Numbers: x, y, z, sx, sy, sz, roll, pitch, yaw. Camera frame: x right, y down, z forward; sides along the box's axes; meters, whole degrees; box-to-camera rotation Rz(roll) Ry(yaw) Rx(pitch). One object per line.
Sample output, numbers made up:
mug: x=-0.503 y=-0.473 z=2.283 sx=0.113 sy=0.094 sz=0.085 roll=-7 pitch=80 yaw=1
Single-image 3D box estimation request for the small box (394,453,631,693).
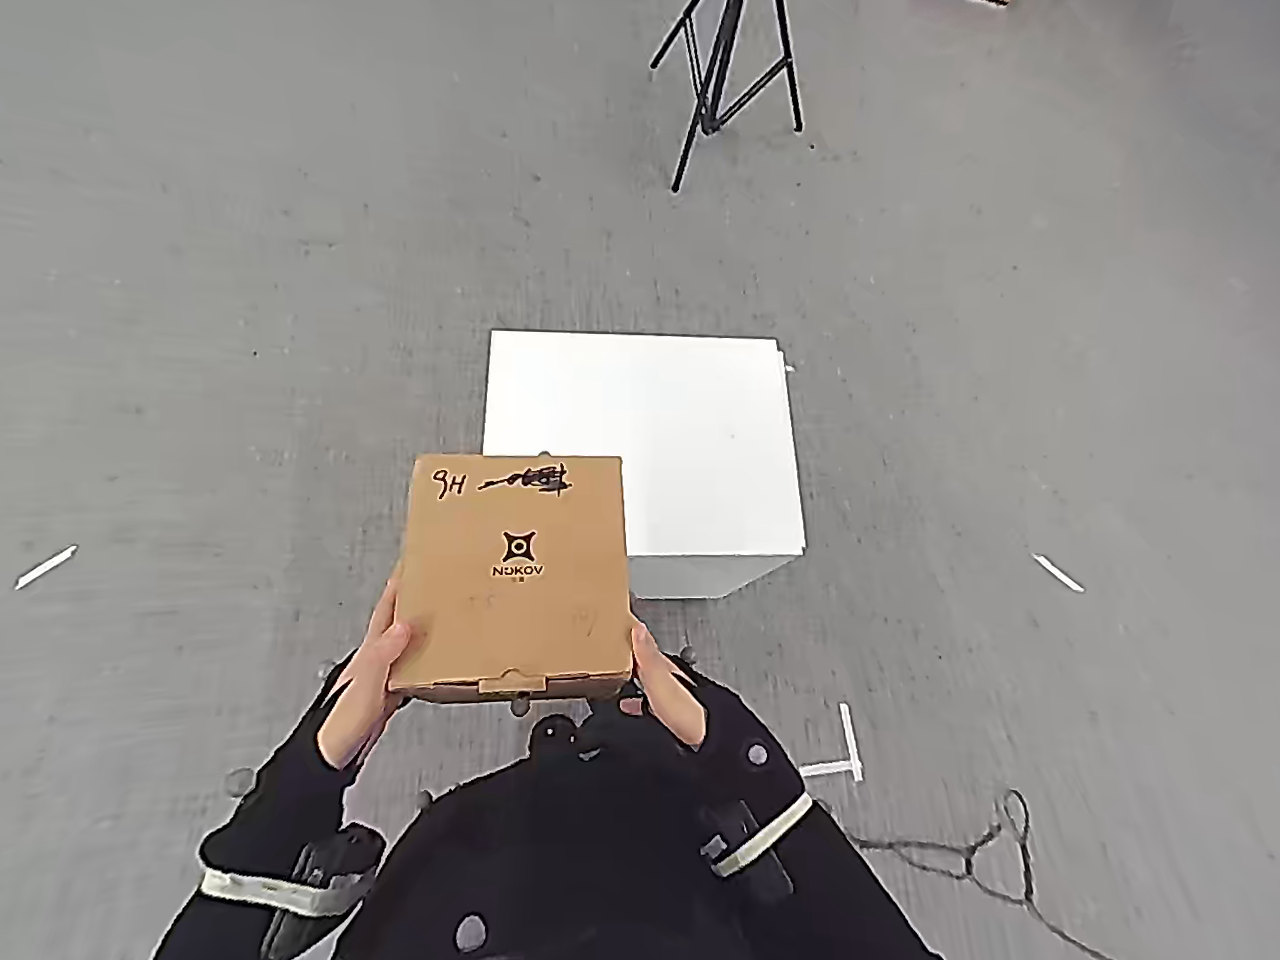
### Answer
small box: x=-0.099 y=0.091 z=0.479 sx=0.168 sy=0.176 sz=0.179 roll=0 pitch=65 yaw=-8
